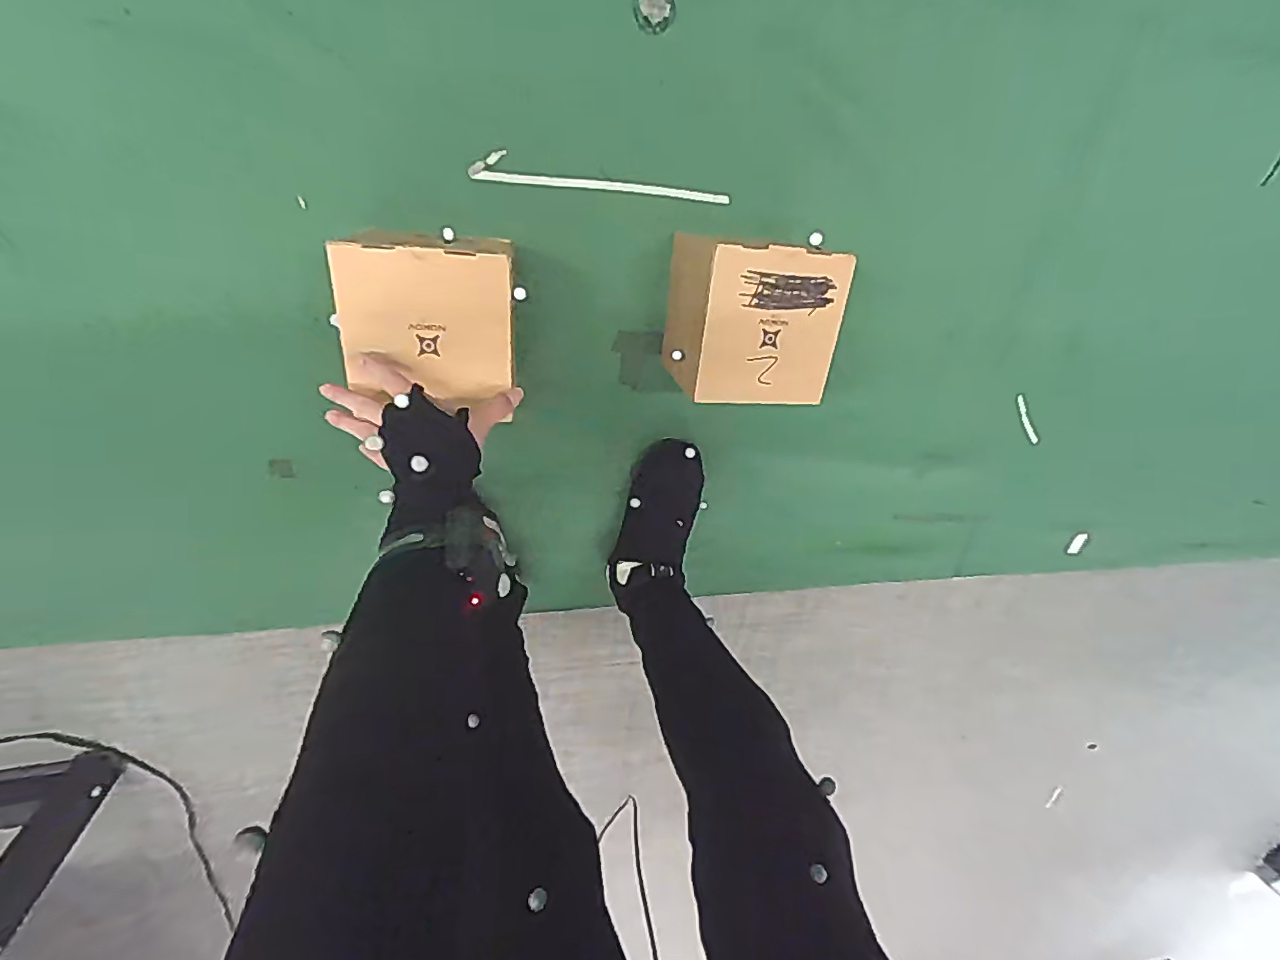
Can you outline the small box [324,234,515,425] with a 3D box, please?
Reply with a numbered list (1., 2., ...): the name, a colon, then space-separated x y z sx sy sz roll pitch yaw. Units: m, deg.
1. small box: -0.230 -0.174 0.616 0.168 0.176 0.179 0 116 -12
